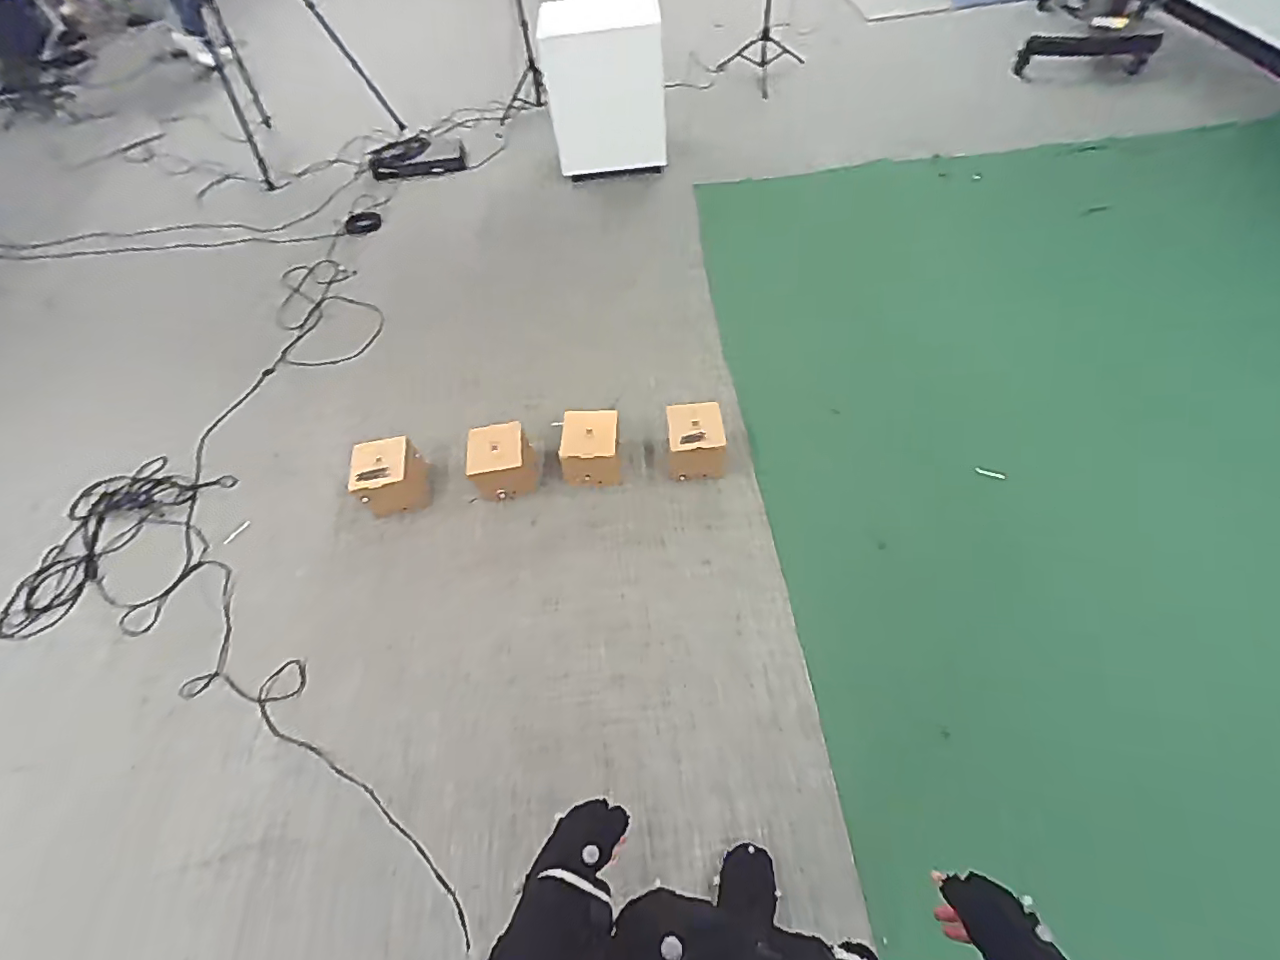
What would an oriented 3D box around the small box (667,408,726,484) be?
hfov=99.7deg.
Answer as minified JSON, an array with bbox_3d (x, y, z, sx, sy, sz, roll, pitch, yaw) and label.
[{"bbox_3d":[0.176,-0.099,1.690,0.168,0.176,0.179,-5,56,1],"label":"small box"}]

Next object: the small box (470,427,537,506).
[{"bbox_3d":[-0.425,-0.040,1.702,0.168,0.176,0.179,-10,58,1],"label":"small box"}]

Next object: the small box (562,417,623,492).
[{"bbox_3d":[-0.143,-0.080,1.705,0.168,0.176,0.179,-1,57,4],"label":"small box"}]
